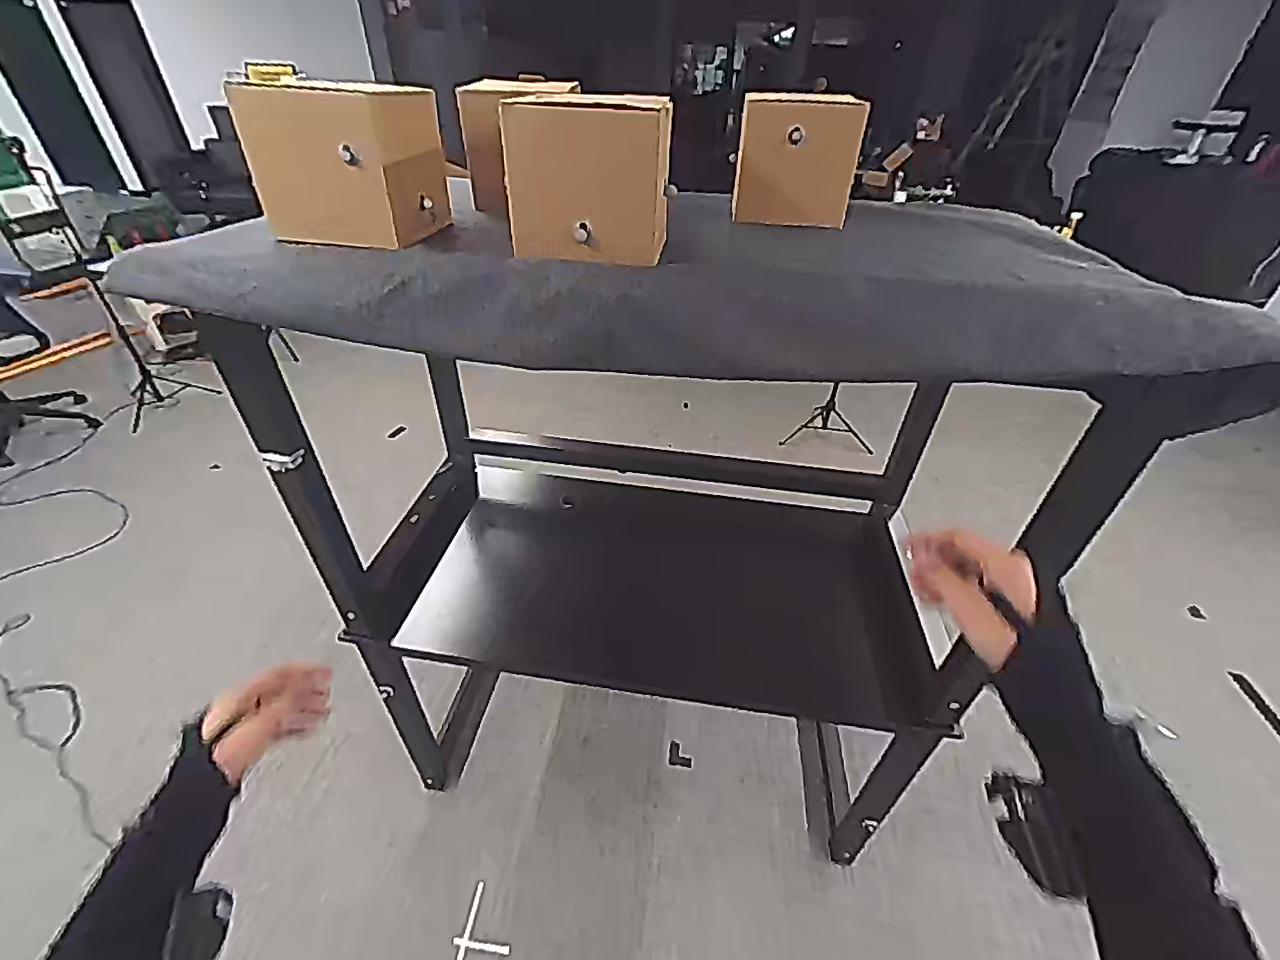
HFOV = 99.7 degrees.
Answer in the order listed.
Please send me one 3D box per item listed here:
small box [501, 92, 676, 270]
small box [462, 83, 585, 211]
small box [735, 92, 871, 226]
[{"bbox_3d":[-0.054,-0.373,0.675,0.179,0.176,0.168,6,37,5],"label":"small box"},{"bbox_3d":[-0.180,-0.555,0.903,0.168,0.176,0.179,1,38,1],"label":"small box"},{"bbox_3d":[0.251,-0.521,0.878,0.179,0.176,0.168,6,39,6],"label":"small box"}]
